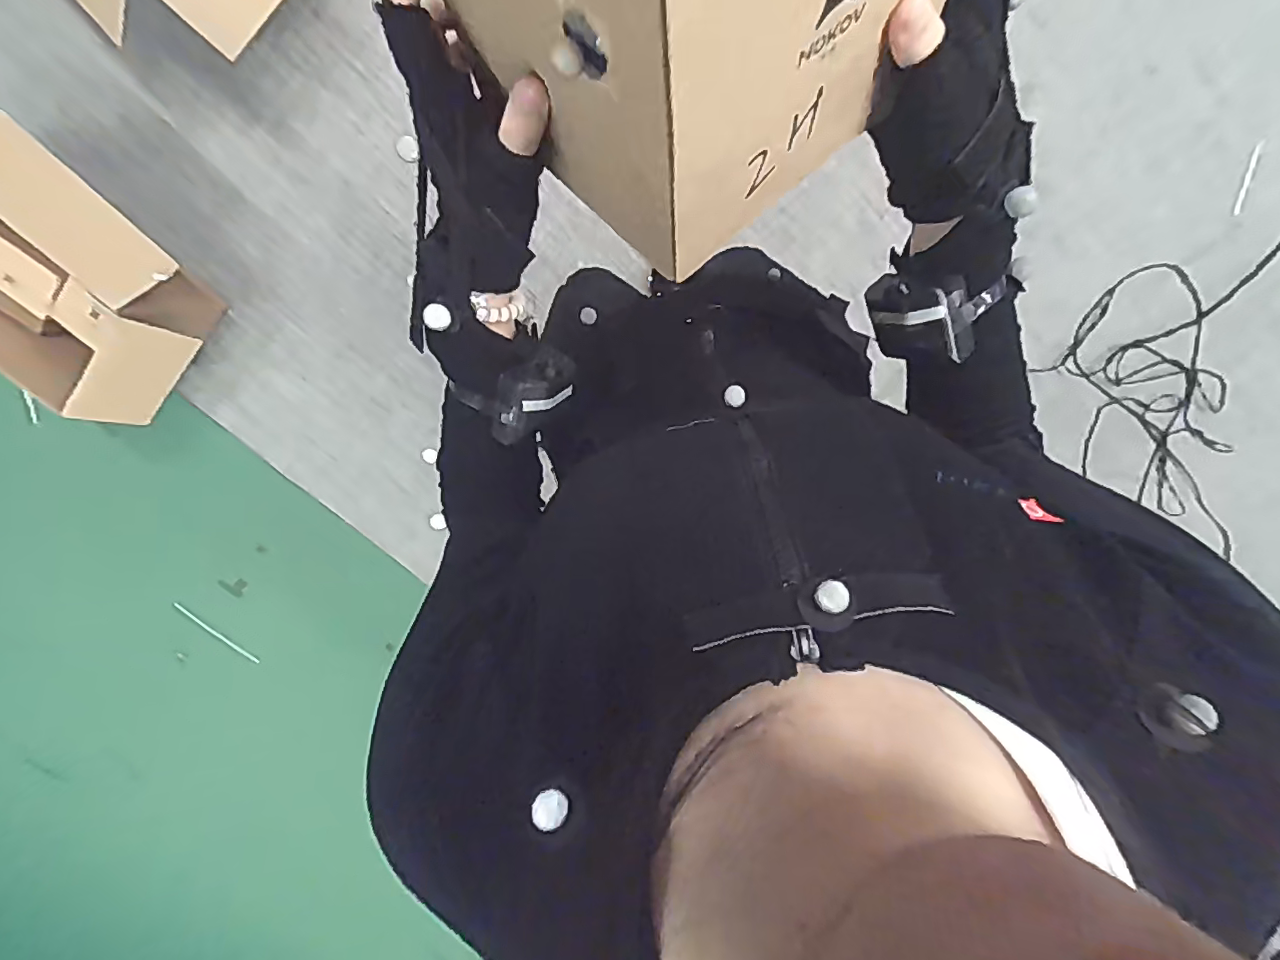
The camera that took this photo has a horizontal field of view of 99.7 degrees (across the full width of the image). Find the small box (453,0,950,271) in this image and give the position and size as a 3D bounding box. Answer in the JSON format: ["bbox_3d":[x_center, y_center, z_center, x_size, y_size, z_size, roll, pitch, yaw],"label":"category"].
[{"bbox_3d":[0.021,-0.234,0.217,0.168,0.179,0.176,-41,73,-8],"label":"small box"}]
